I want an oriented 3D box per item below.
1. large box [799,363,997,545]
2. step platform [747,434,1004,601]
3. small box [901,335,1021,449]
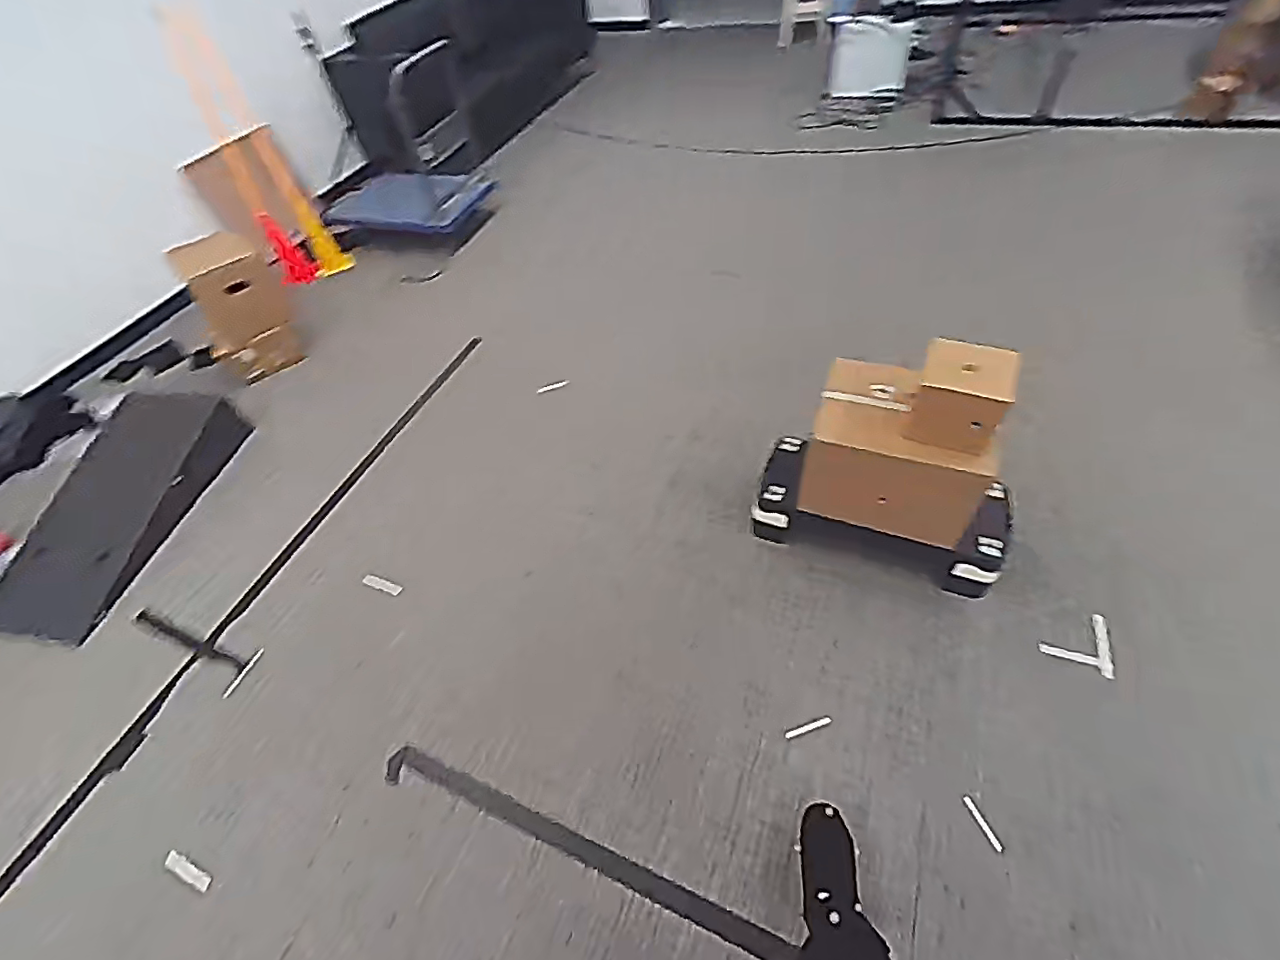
[{"bbox_3d":[0.665,-0.070,1.425,0.408,0.320,0.320,13,54,20],"label":"large box"},{"bbox_3d":[0.674,0.086,1.606,0.684,0.204,0.286,18,57,23],"label":"step platform"},{"bbox_3d":[0.705,-0.190,1.198,0.179,0.176,0.168,17,57,22],"label":"small box"}]
